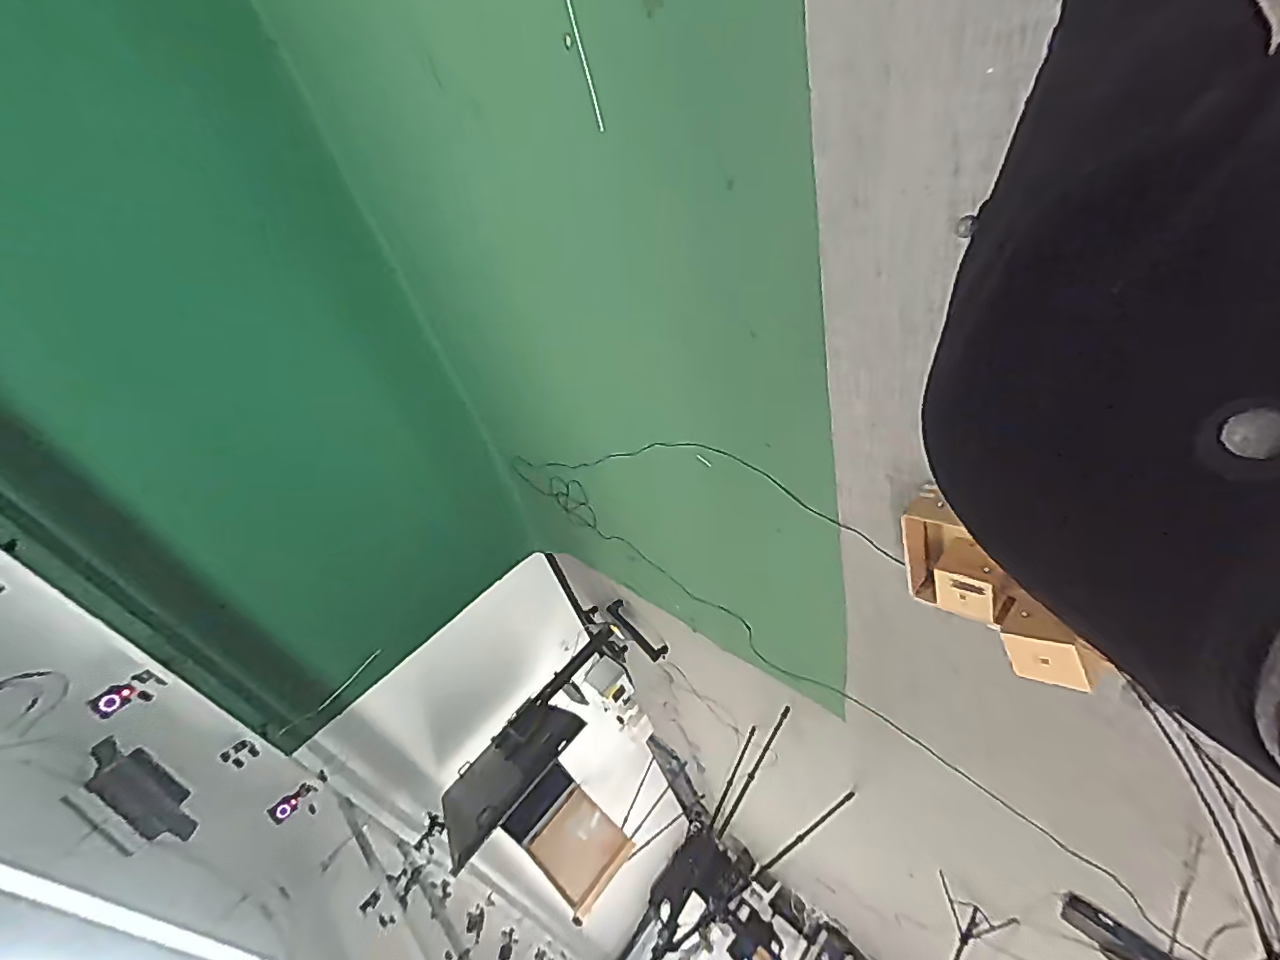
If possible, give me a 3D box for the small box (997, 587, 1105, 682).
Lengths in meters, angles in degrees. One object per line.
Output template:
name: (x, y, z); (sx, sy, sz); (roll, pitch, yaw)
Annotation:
small box: (1.131, 0.416, 1.487); (0.179, 0.176, 0.168); (-3, 122, 57)
